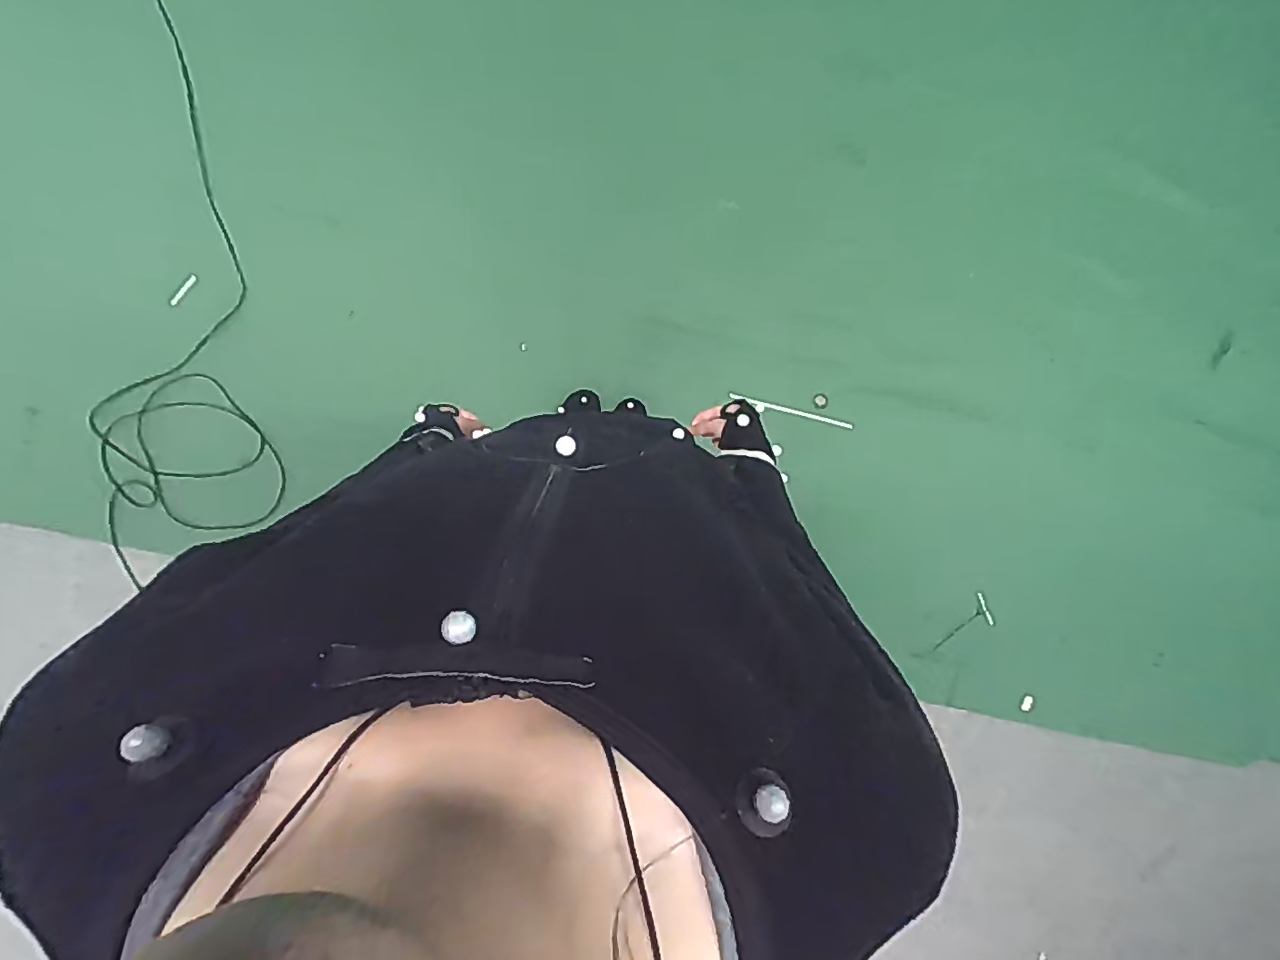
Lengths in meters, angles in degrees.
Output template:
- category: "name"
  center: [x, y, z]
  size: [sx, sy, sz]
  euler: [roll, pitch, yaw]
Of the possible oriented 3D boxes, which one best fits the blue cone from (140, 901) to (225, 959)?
- category: "blue cone"
  center: [-1.322, 1.364, 1.419]
  size: [0.193, 0.380, 0.192]
  euler: [-30, 102, 2]
